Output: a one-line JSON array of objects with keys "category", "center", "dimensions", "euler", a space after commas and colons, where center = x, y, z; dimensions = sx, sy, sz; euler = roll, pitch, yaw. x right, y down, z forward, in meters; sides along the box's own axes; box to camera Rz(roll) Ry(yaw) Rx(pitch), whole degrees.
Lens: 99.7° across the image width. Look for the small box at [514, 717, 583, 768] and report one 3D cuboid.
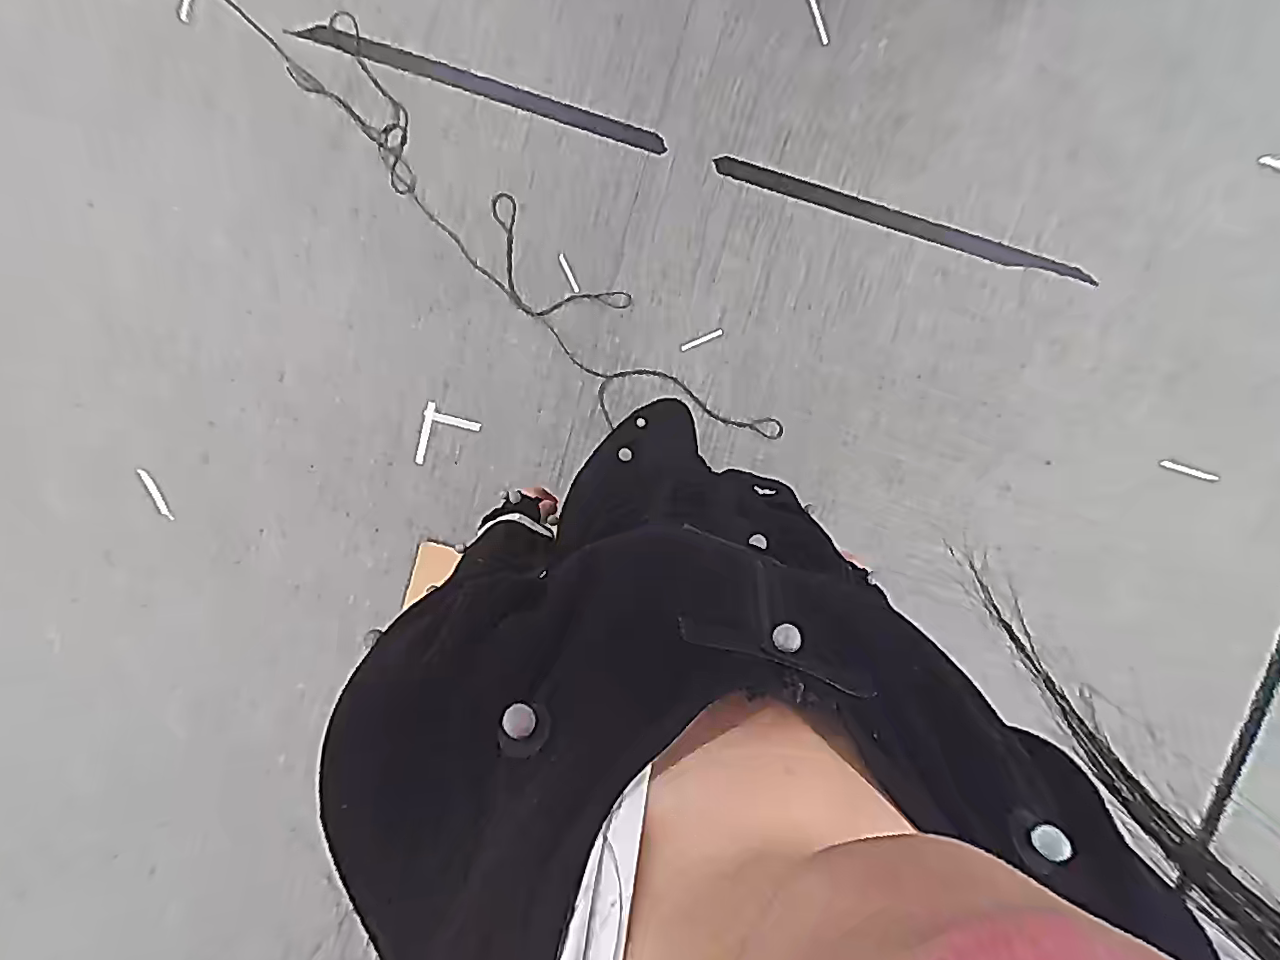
[{"category": "small box", "center": [-0.251, 0.769, 1.459], "dimensions": [0.168, 0.176, 0.179], "euler": [10, 94, 0]}]
